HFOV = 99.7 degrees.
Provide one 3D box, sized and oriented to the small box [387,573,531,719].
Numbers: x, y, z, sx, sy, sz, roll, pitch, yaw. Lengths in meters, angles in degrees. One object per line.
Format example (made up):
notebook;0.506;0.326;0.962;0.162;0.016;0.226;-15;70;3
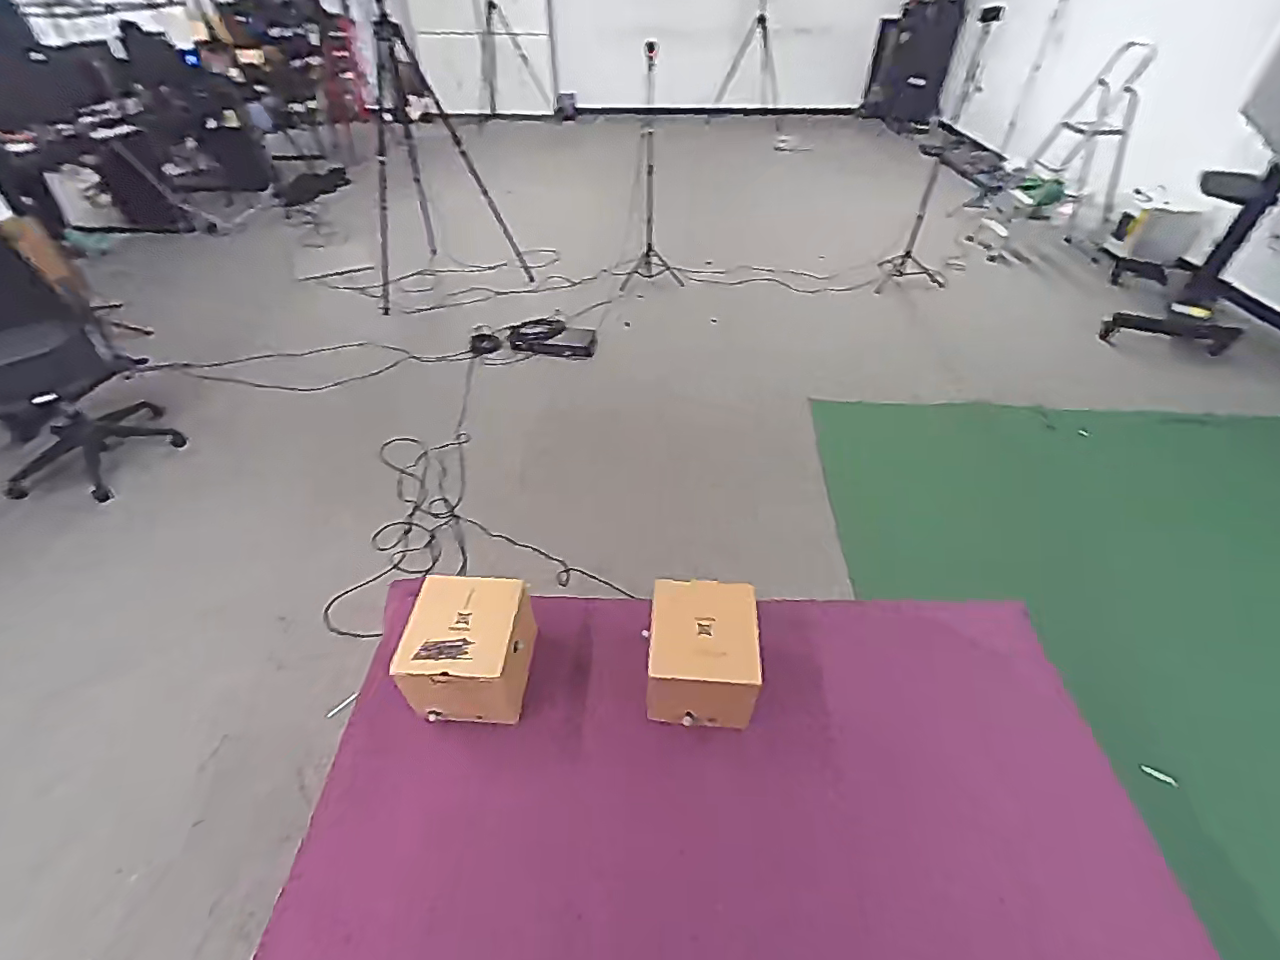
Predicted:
small box;-0.281;0.276;0.891;0.168;0.176;0.179;3;46;1

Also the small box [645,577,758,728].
small box;0.096;0.285;0.896;0.168;0.176;0.179;3;46;3
